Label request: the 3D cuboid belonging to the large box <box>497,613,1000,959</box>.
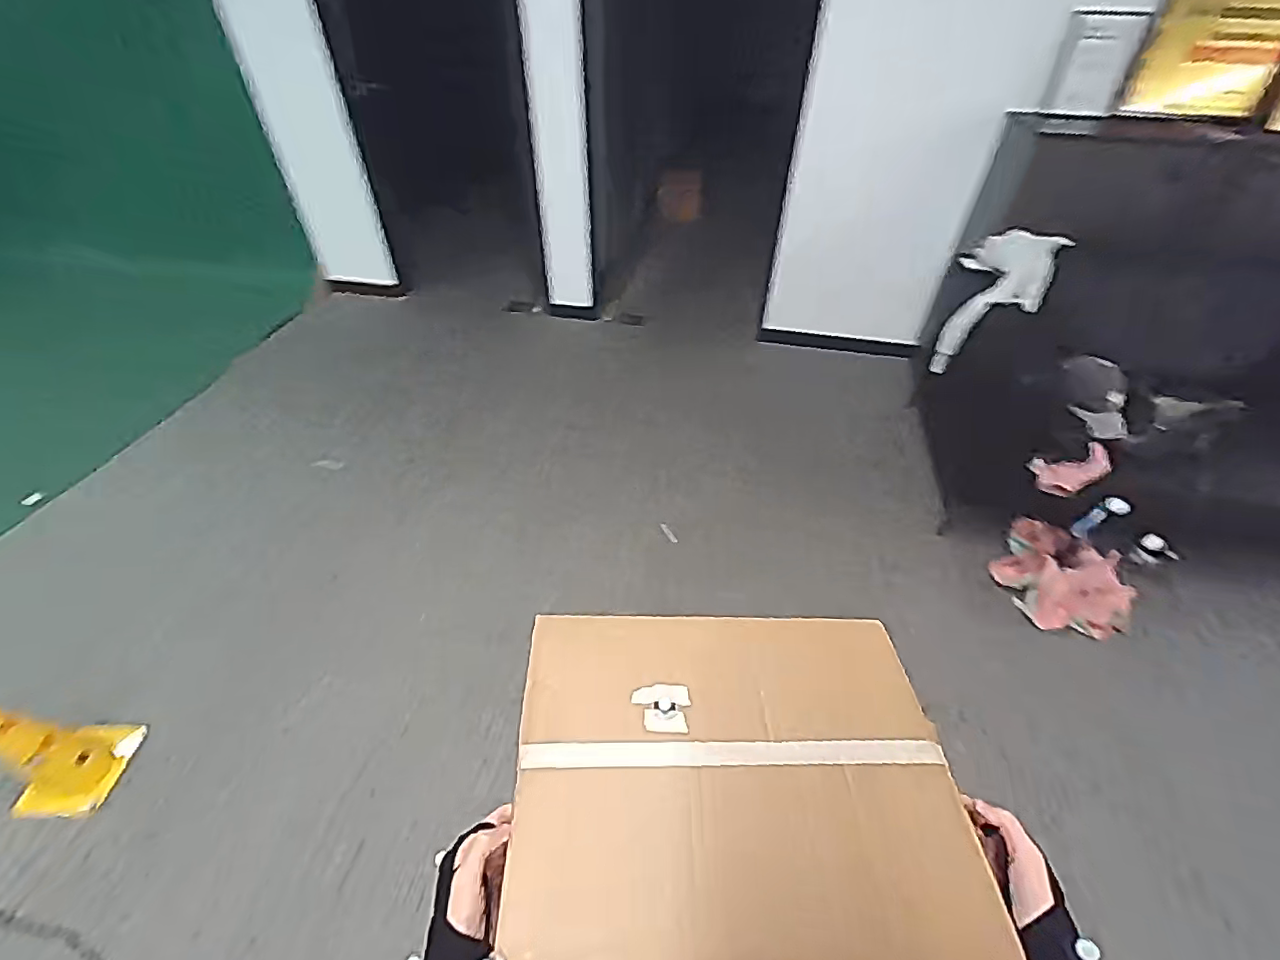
[{"bbox_3d":[0.076,0.374,0.620,0.408,0.320,0.320,0,42,-4],"label":"large box"}]
